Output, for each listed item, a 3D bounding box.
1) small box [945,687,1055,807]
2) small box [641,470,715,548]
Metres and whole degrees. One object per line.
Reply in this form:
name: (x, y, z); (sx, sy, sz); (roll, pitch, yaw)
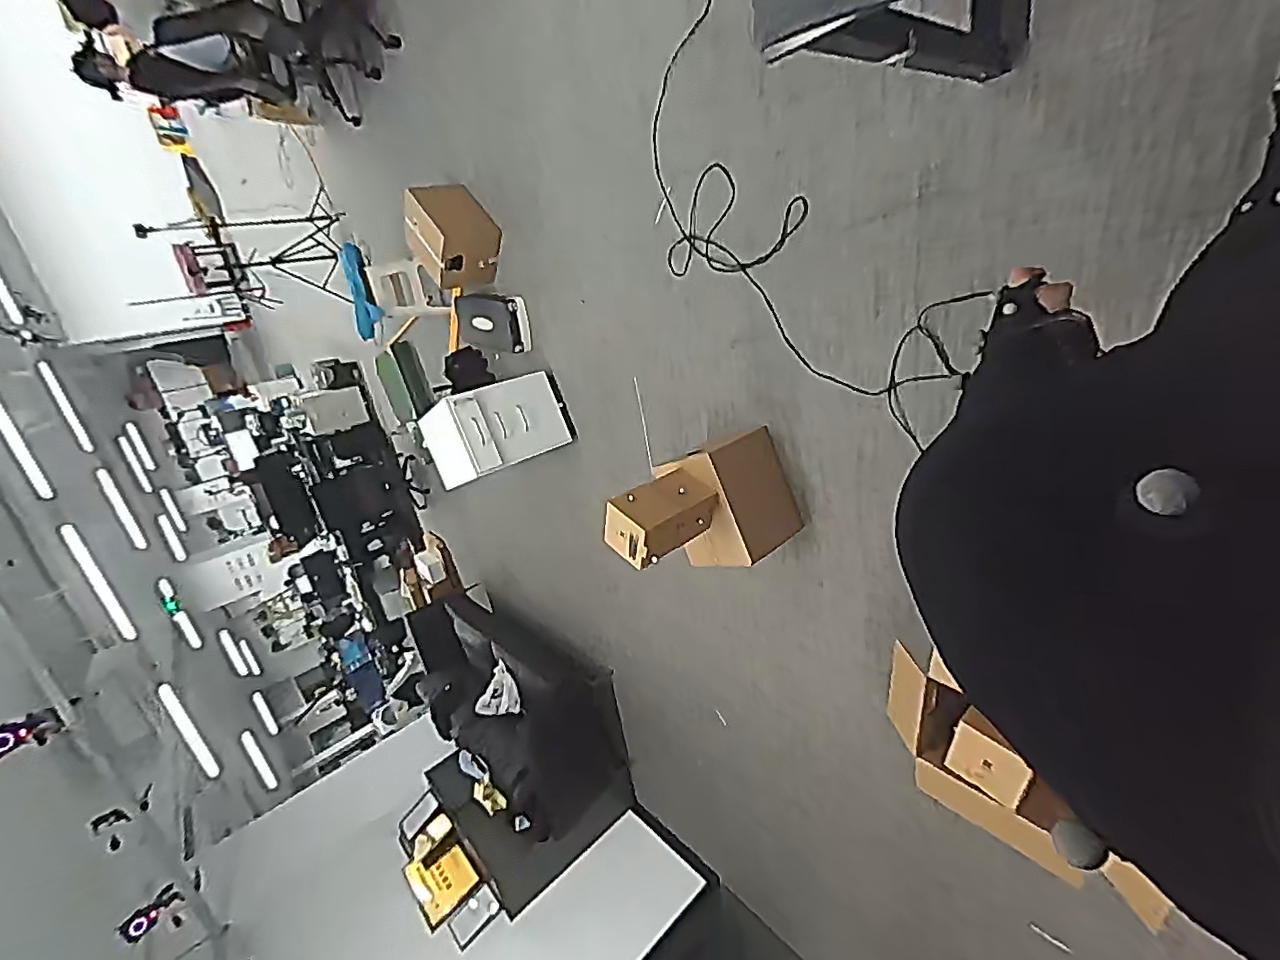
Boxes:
small box: (0.912, 0.665, 1.368); (0.168, 0.176, 0.179); (28, 131, 44)
small box: (0.129, 0.090, 1.808); (0.179, 0.176, 0.168); (34, 134, 32)
